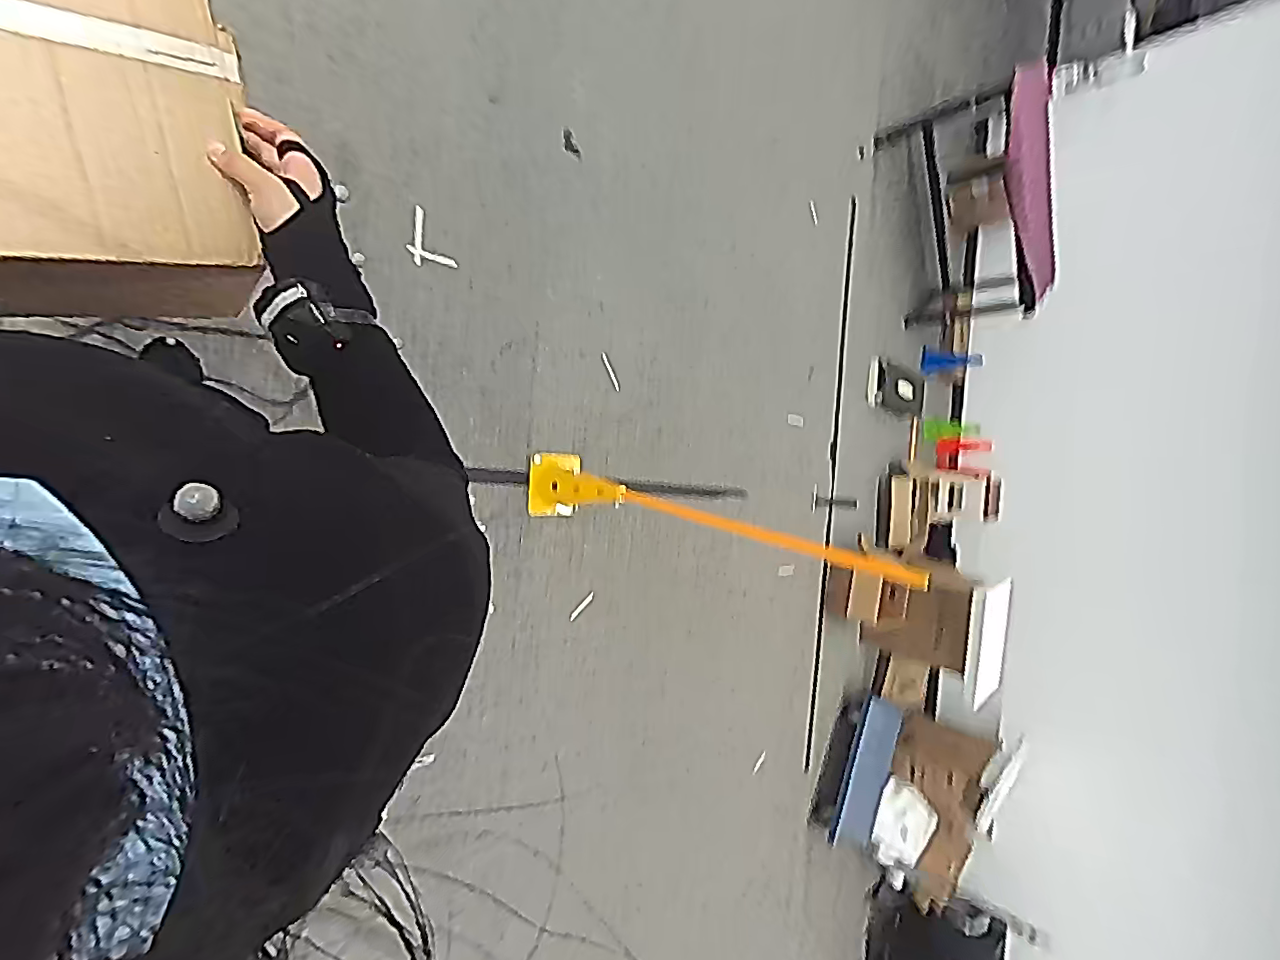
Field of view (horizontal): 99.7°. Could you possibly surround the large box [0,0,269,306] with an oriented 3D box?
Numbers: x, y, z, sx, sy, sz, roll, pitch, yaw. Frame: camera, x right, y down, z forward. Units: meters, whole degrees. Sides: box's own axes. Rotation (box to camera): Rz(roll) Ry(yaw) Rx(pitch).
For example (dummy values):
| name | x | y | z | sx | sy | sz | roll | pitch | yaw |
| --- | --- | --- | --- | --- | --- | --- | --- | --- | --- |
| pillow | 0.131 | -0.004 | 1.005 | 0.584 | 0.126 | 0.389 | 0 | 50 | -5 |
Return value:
| name | x | y | z | sx | sy | sz | roll | pitch | yaw |
| --- | --- | --- | --- | --- | --- | --- | --- | --- | --- |
| large box | -0.589 | -0.323 | 0.449 | 0.408 | 0.320 | 0.320 | -13 | 103 | -38 |
